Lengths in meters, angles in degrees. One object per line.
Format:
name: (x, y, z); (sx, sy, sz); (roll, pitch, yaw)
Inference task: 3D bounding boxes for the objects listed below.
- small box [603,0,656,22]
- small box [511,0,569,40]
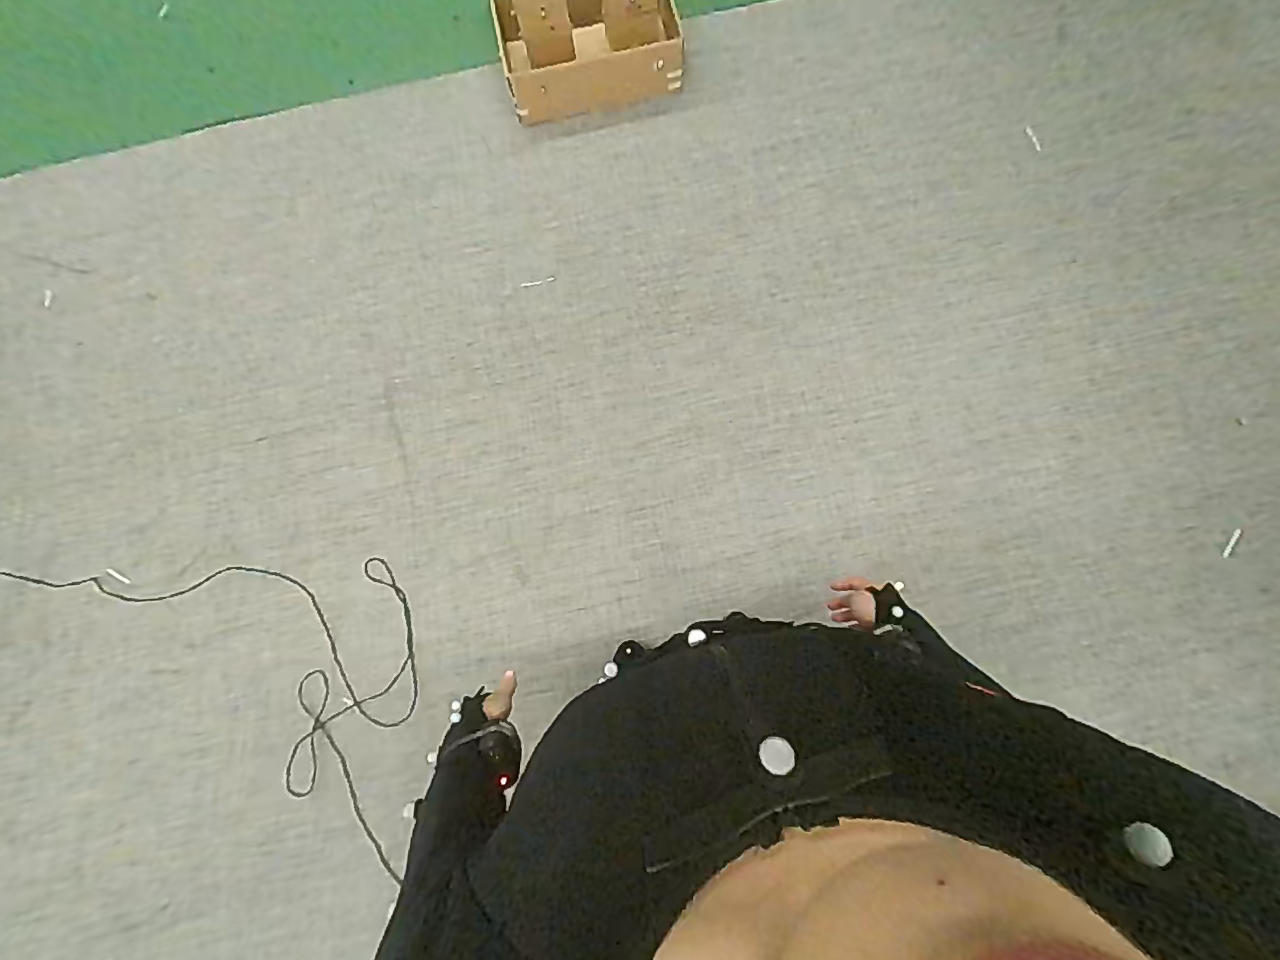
small box: (-0.047, -1.641, 1.744); (0.168, 0.176, 0.179); (-13, 76, 0)
small box: (-0.334, -1.564, 1.739); (0.168, 0.176, 0.179); (-16, 76, -1)
